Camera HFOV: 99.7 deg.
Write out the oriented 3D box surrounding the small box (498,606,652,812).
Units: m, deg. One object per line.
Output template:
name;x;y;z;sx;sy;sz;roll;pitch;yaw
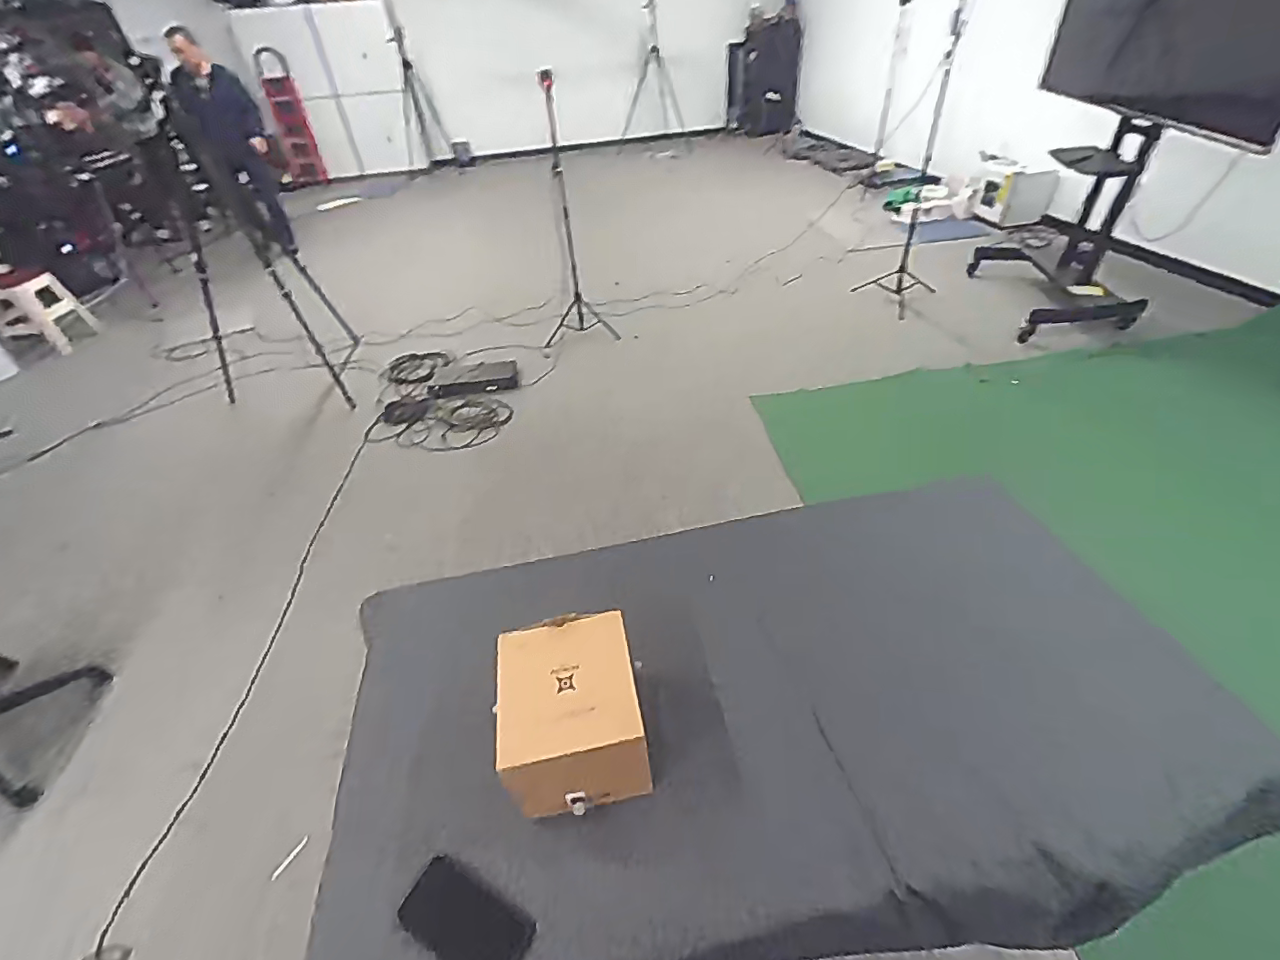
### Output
small box;-0.083;0.297;0.707;0.168;0.176;0.179;-11;42;-5
